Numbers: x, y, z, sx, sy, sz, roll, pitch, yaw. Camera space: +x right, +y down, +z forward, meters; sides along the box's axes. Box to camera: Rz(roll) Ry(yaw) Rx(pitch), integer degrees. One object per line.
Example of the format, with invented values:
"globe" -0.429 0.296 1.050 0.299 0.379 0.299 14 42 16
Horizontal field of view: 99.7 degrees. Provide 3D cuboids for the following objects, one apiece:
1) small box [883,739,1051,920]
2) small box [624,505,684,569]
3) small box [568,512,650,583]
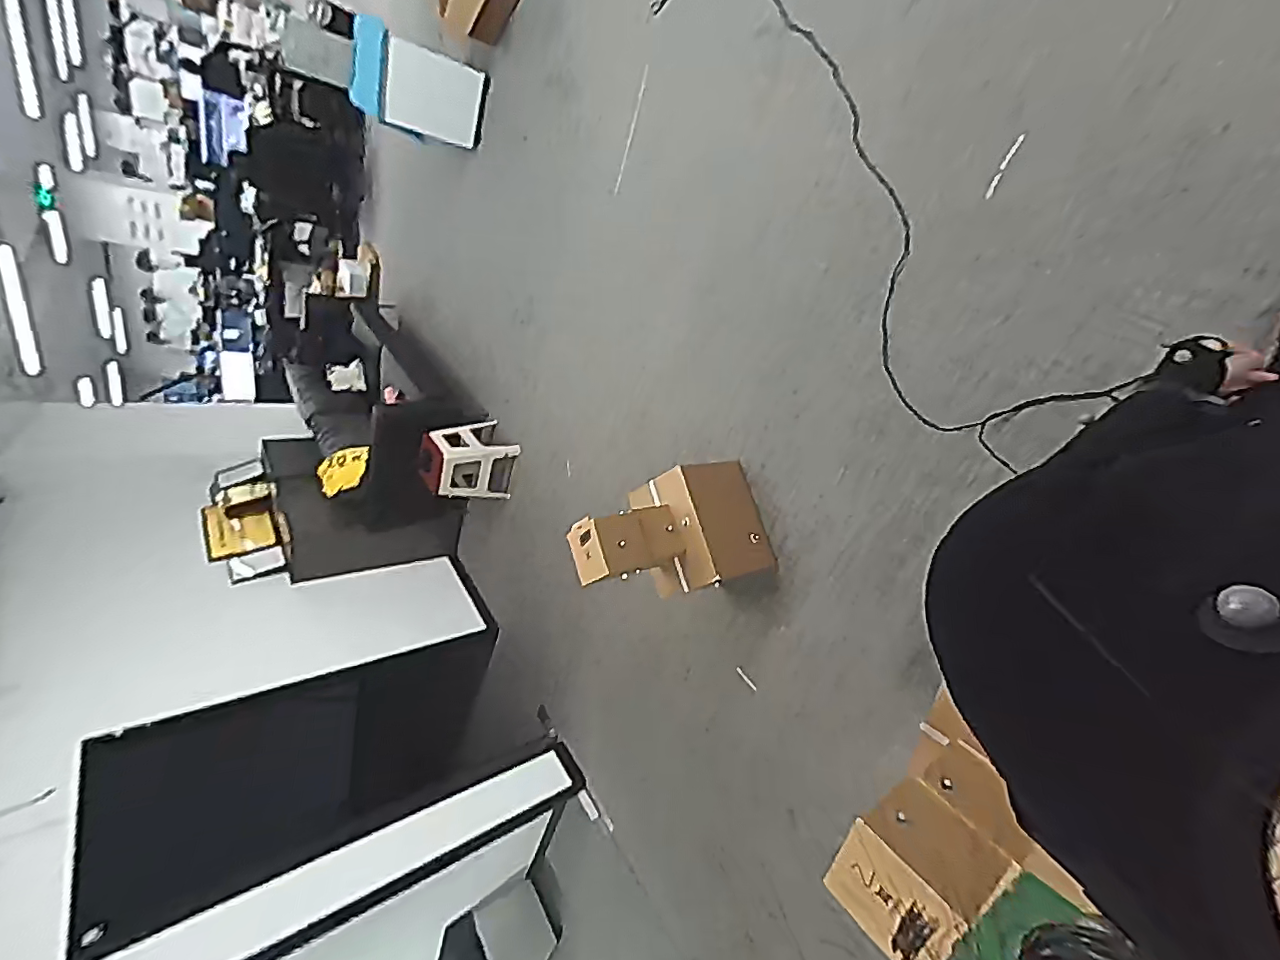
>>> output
"small box" 0.576 0.600 0.952 0.179 0.176 0.168 37 122 42
"small box" 0.019 0.191 1.812 0.168 0.176 0.179 -39 65 47
"small box" -0.096 0.207 1.693 0.168 0.176 0.179 -33 71 48
